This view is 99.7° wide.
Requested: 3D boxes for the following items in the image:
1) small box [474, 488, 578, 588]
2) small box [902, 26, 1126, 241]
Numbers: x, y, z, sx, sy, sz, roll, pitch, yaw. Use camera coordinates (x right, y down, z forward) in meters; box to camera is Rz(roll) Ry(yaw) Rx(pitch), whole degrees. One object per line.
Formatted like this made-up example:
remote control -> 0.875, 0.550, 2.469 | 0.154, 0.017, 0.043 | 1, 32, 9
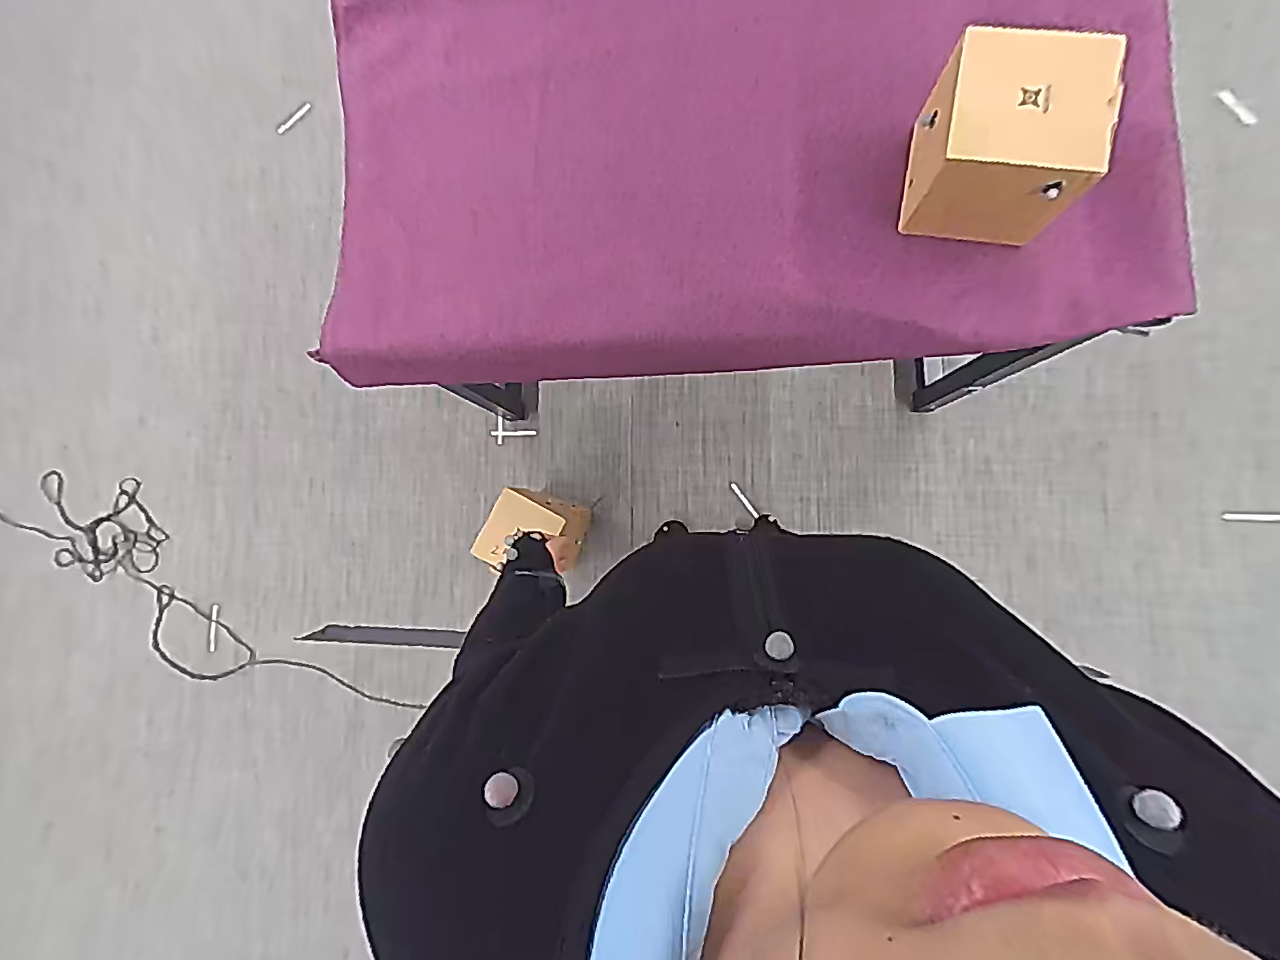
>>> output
small box -> -0.263, 0.133, 1.301 | 0.168, 0.176, 0.179 | 28, 90, 7
small box -> 0.461, -0.431, 0.696 | 0.179, 0.176, 0.168 | 9, 87, 7
